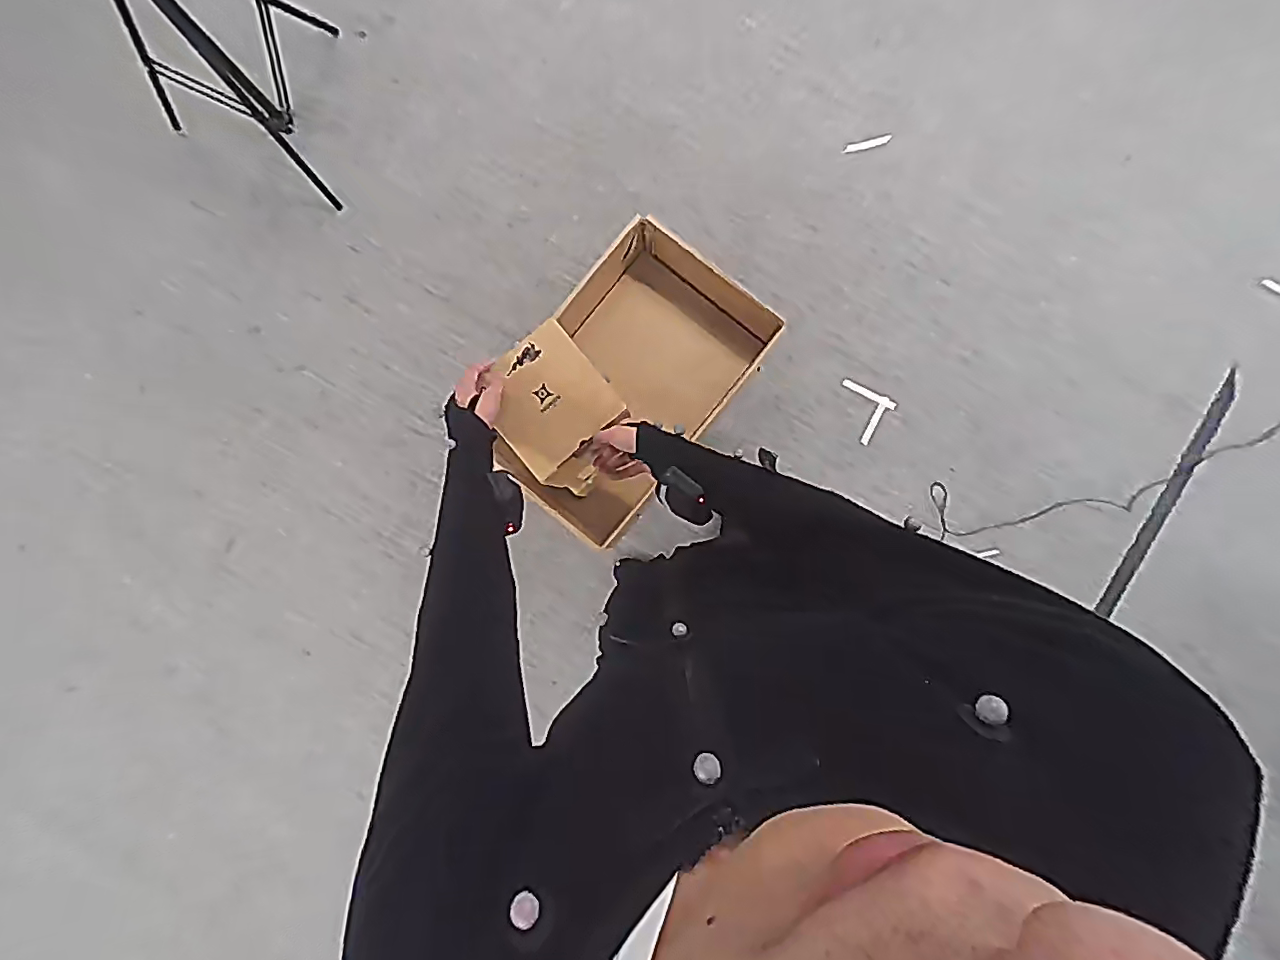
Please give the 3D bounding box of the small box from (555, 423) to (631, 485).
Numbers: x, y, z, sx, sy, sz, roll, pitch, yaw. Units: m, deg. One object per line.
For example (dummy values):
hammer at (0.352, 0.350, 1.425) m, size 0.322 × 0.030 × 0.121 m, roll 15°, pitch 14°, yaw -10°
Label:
small box at (-0.131, -0.107, 1.004) m, size 0.168 × 0.176 × 0.179 m, roll -43°, pitch 86°, yaw 0°

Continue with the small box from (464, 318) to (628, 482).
small box at (-0.132, -0.112, 0.840) m, size 0.168 × 0.176 × 0.179 m, roll -39°, pitch 87°, yaw 0°
